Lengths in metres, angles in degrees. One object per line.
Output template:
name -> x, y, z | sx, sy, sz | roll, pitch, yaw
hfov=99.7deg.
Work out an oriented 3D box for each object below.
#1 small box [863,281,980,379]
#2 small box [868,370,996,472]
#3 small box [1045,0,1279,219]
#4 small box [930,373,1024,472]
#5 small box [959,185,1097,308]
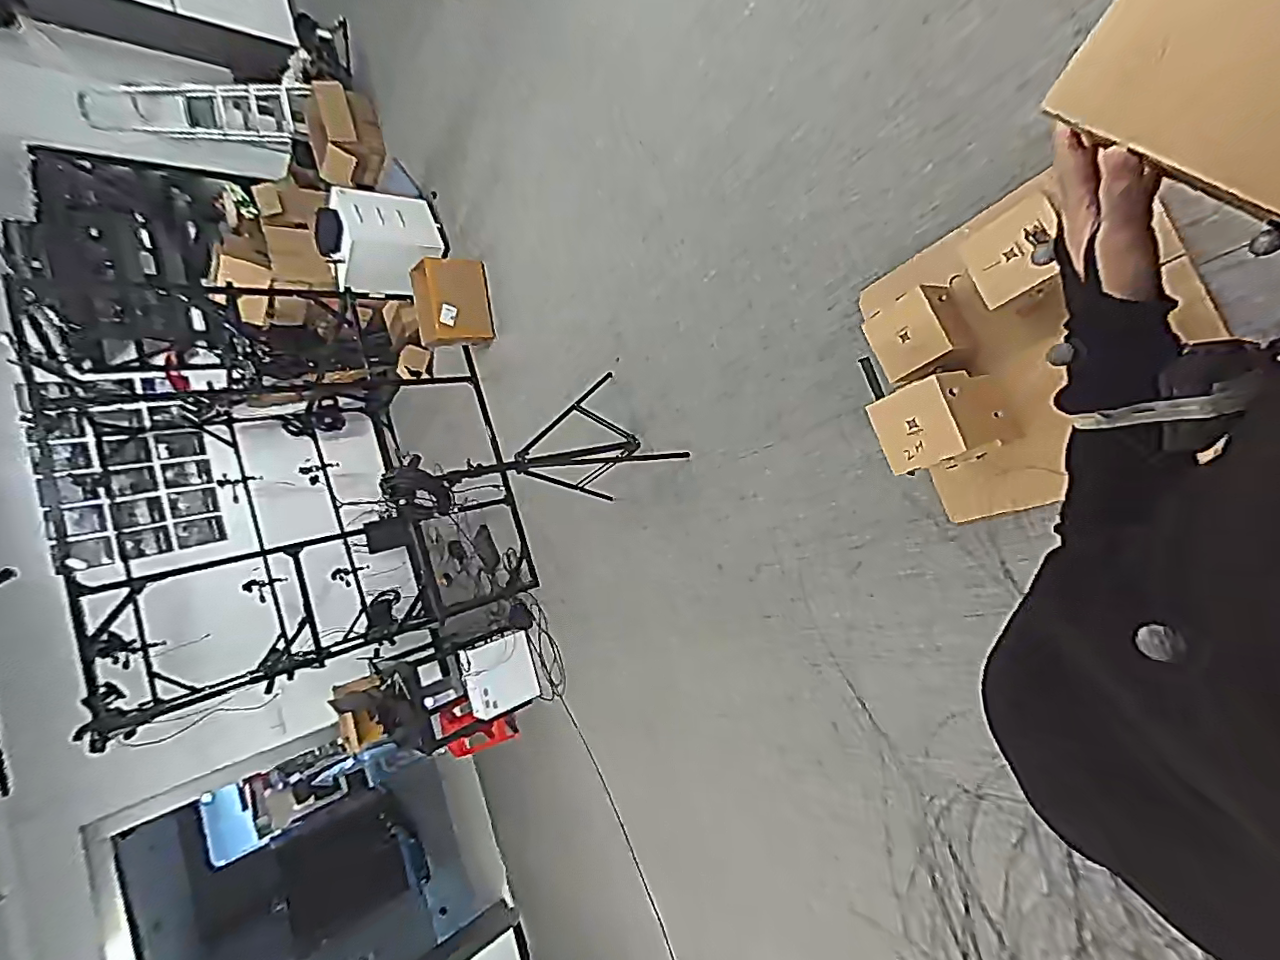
small box -> 0.699, -0.369, 1.343 | 0.168, 0.176, 0.179 | -35, 74, 50
small box -> 0.649, -0.133, 1.202 | 0.168, 0.176, 0.179 | -29, 78, 51
small box -> 0.361, -0.222, 0.255 | 0.179, 0.176, 0.168 | 59, 142, 31
small box -> 0.783, -0.142, 1.303 | 0.168, 0.176, 0.179 | -34, 75, 49
small box -> 0.828, -0.486, 1.147 | 0.179, 0.176, 0.168 | -33, 75, 50
